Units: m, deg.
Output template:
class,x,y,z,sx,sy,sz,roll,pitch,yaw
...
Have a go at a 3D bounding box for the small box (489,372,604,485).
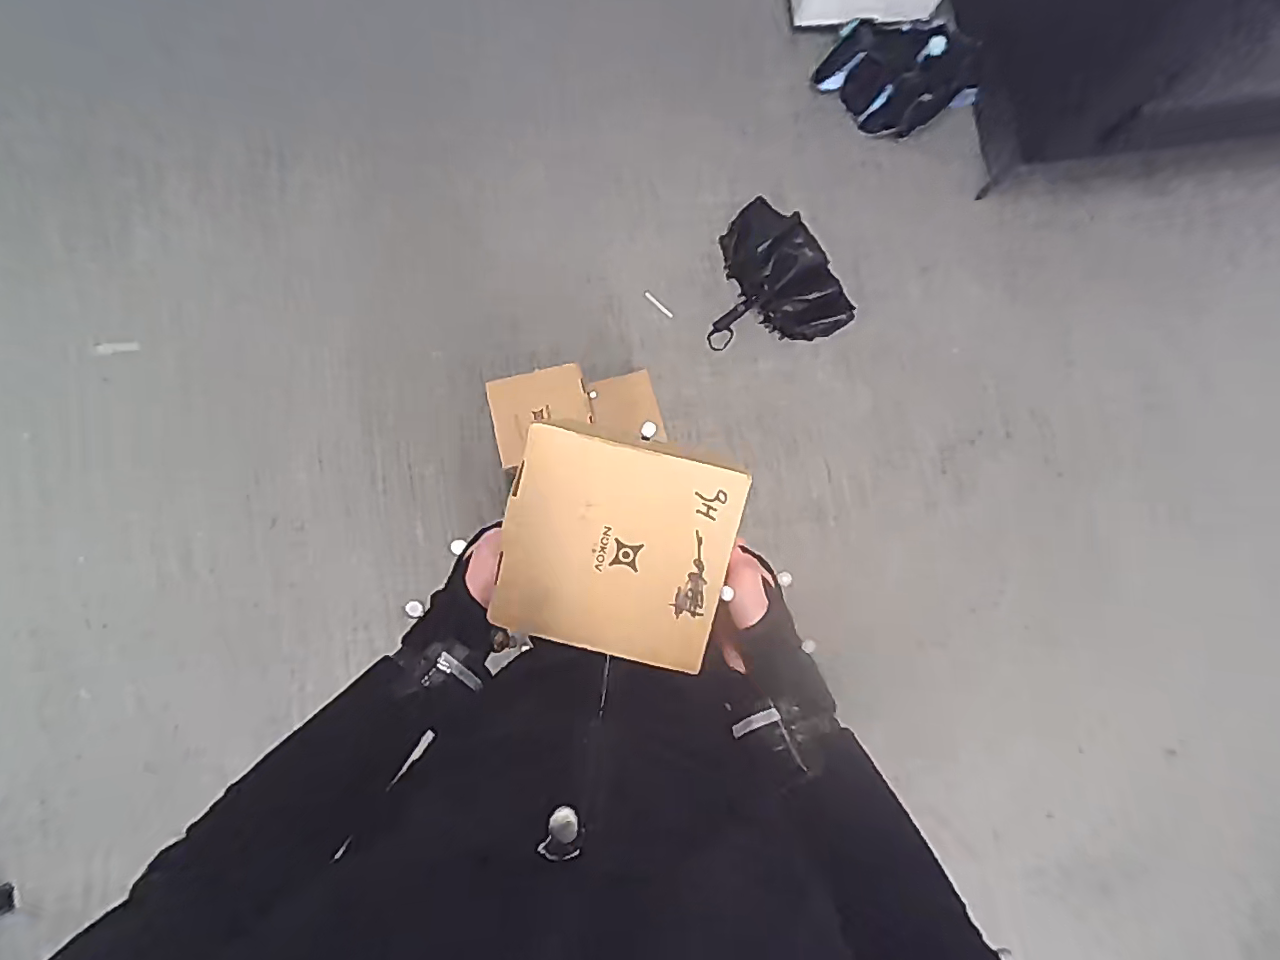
class,x,y,z,sx,sy,sz,roll,pitch,yaw
small box,-0.172,-0.092,1.052,0.179,0.176,0.168,-14,83,0
